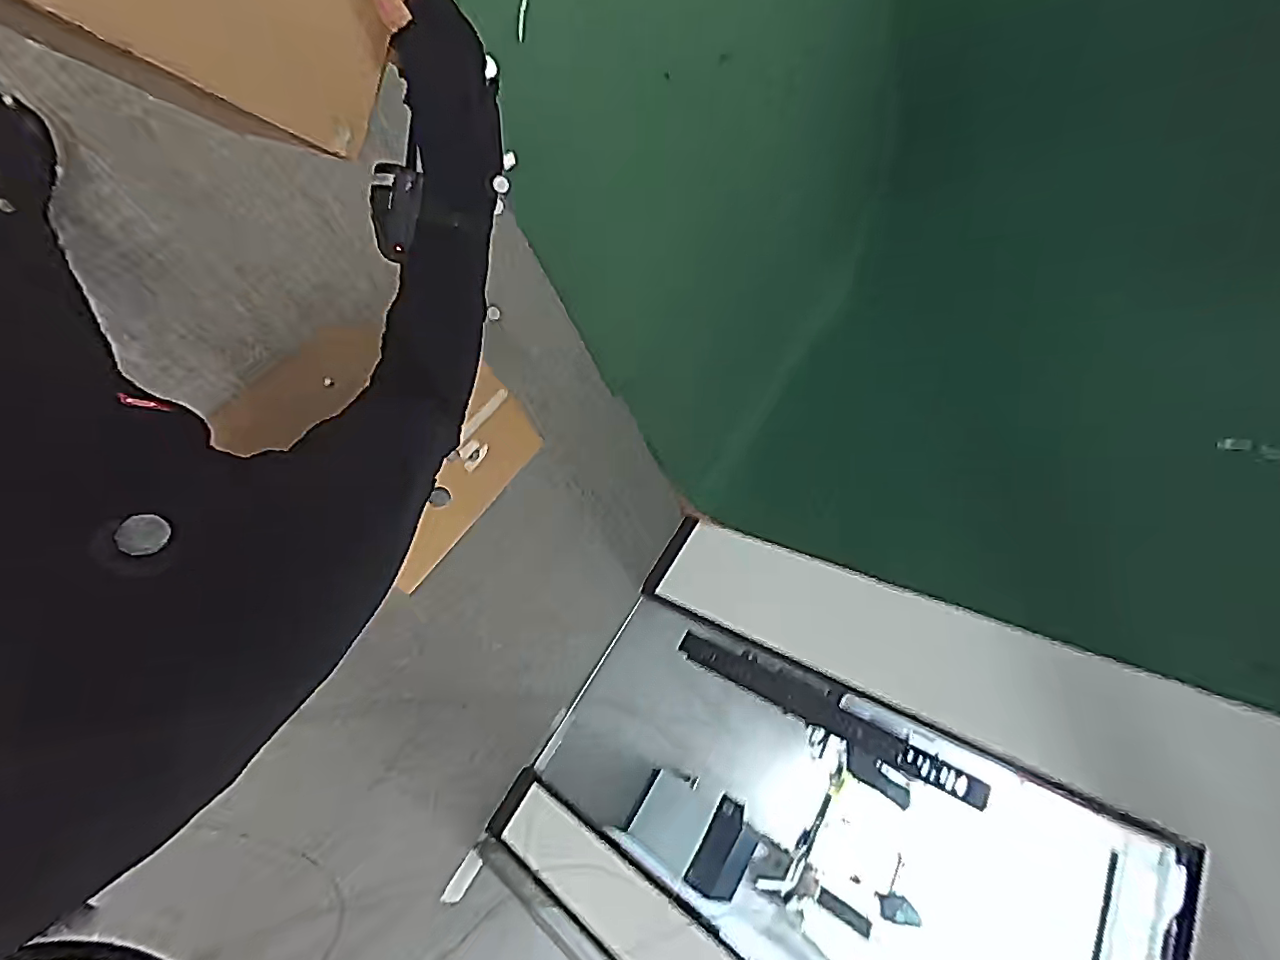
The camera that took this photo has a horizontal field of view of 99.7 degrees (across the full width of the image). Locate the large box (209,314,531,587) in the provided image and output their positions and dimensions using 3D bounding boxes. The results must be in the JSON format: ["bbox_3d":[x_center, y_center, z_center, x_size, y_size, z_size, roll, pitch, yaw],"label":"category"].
[{"bbox_3d":[-0.503,-0.076,1.050,0.408,0.320,0.320,-53,137,-25],"label":"large box"}]
